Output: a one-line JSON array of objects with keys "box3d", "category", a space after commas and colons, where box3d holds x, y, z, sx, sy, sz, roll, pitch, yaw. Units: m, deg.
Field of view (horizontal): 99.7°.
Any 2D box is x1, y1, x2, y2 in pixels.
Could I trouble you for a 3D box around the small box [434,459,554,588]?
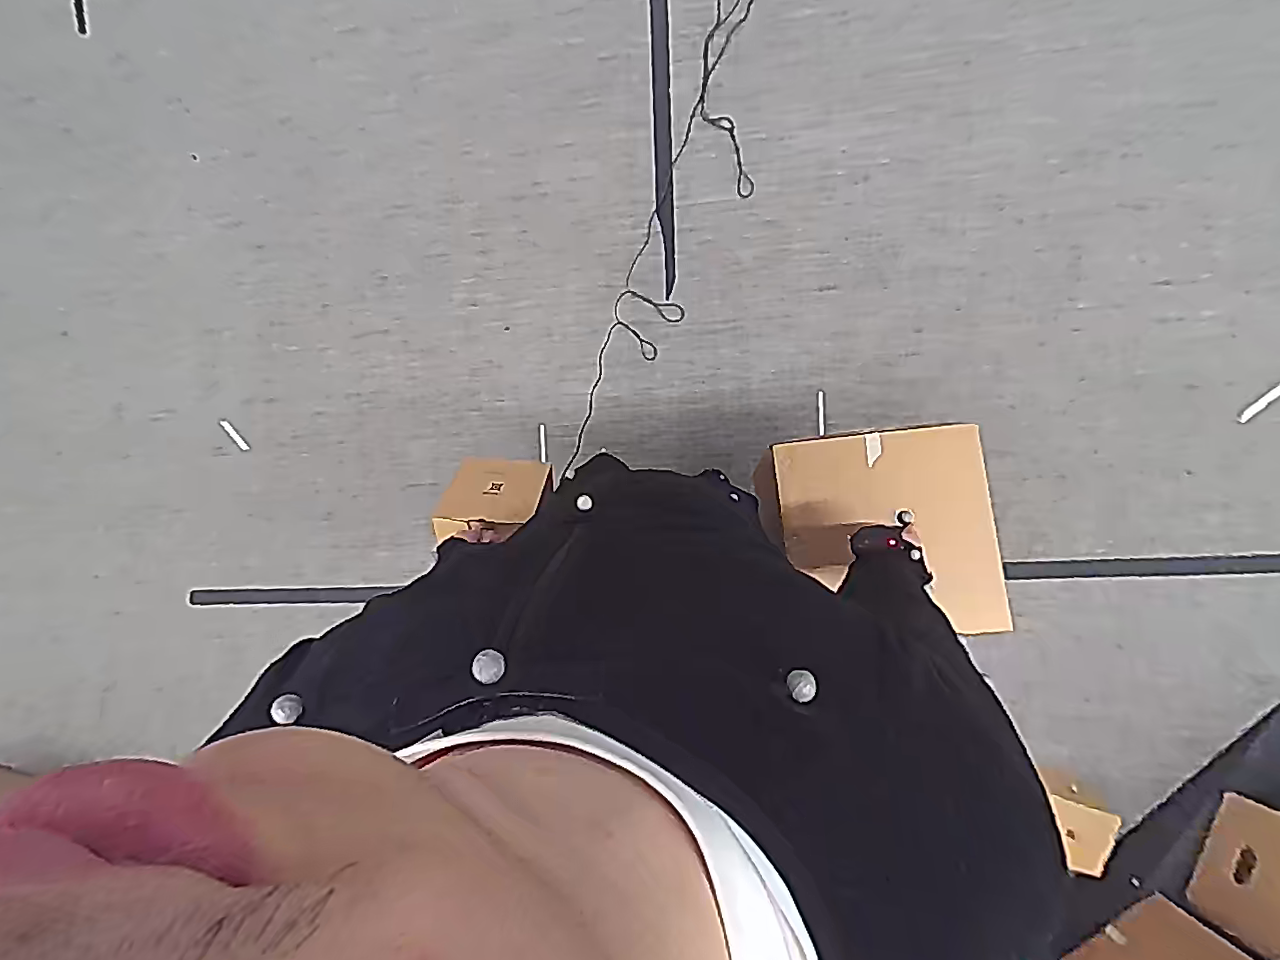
[{"box3d": [-0.258, 0.081, 1.003, 0.168, 0.179, 0.176, 3, 128, 1], "category": "small box"}]
